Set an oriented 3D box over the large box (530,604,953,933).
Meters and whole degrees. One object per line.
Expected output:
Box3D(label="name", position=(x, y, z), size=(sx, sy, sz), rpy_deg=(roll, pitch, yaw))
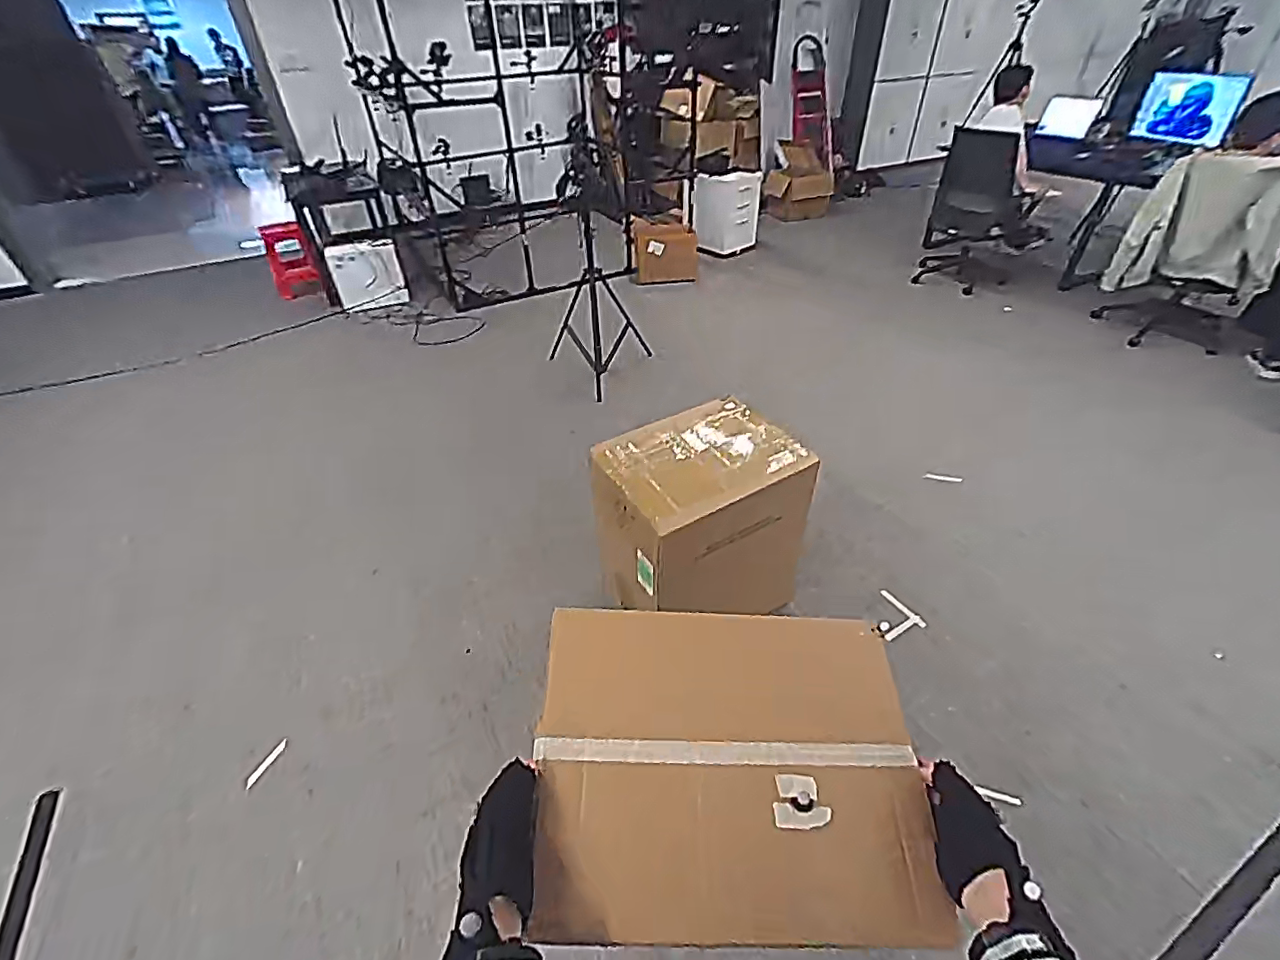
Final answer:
Box3D(label="large box", position=(0.083, 0.372, 0.698), size=(0.408, 0.320, 0.320), rpy_deg=(3, 53, -4))
